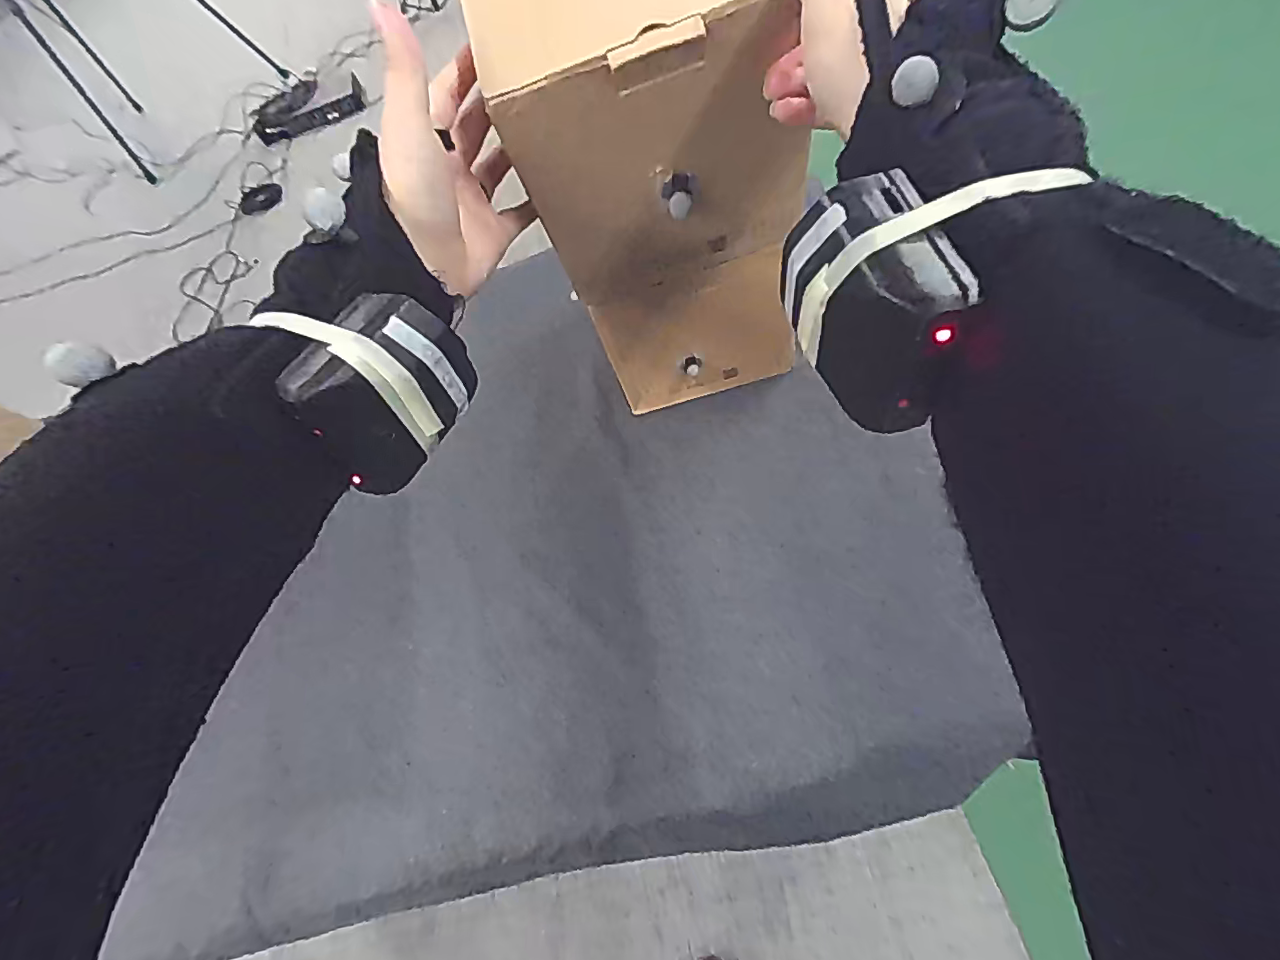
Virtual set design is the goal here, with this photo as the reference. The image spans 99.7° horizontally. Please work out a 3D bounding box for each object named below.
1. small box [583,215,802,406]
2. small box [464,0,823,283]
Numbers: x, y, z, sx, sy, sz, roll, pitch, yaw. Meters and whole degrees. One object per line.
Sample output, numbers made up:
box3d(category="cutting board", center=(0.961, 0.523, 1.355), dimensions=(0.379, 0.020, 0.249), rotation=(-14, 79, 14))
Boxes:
box3d(category="small box", center=(0.038, -0.198, 0.503), dimensions=(0.168, 0.176, 0.179), rotation=(-15, 65, 6))
box3d(category="small box", center=(0.002, -0.252, 0.341), dimensions=(0.168, 0.176, 0.179), rotation=(-17, 73, 6))
